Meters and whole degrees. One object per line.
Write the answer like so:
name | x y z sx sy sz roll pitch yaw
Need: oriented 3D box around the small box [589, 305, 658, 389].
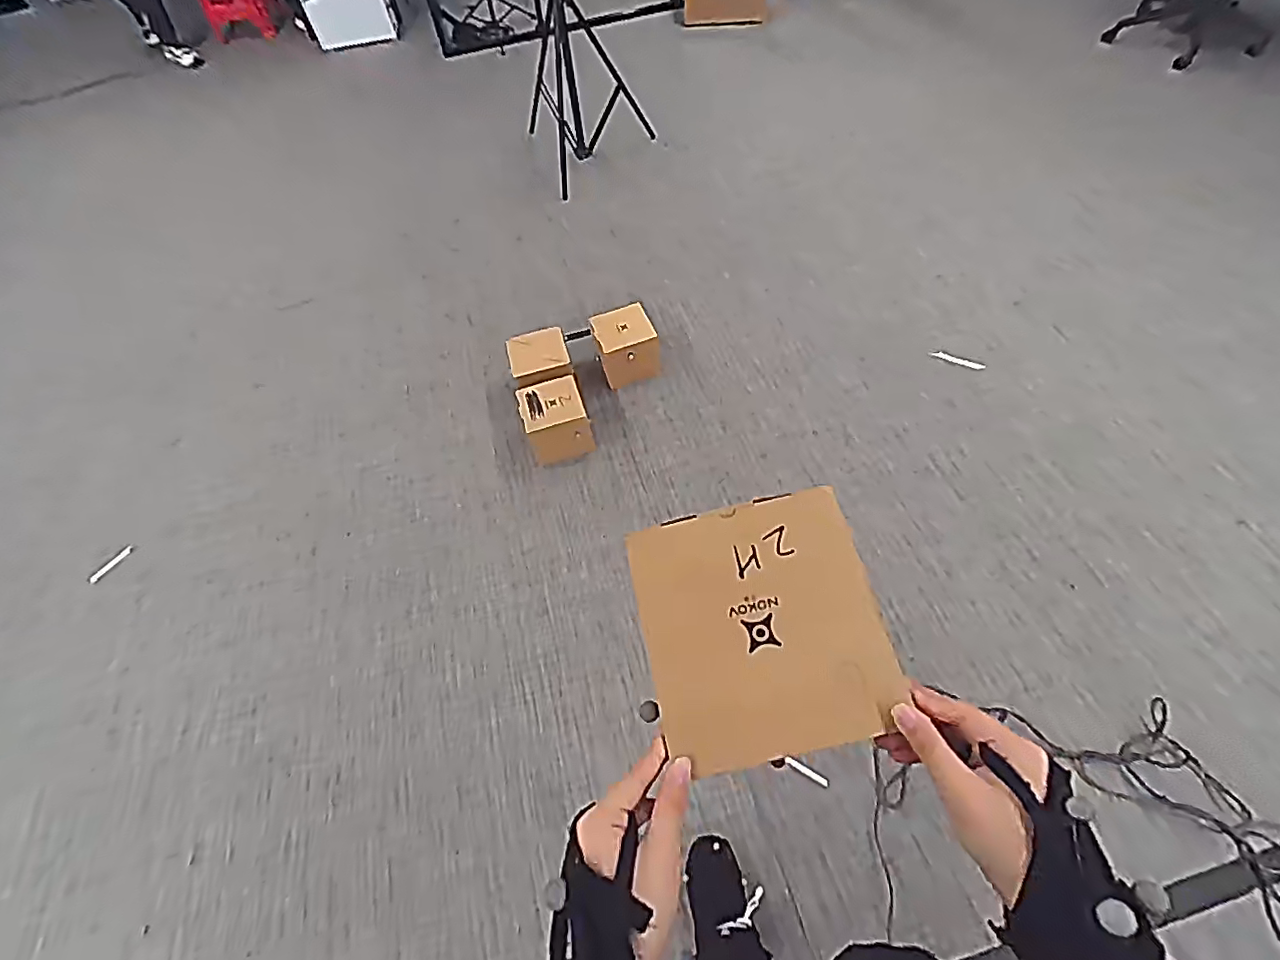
small box | -0.049 -0.424 1.741 0.179 0.176 0.168 -20 60 -7

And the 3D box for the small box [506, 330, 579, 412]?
small box | -0.307 -0.347 1.710 0.179 0.176 0.168 -15 59 -5

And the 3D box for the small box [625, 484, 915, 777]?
small box | 0.093 0.127 0.456 0.168 0.176 0.179 -14 67 1
